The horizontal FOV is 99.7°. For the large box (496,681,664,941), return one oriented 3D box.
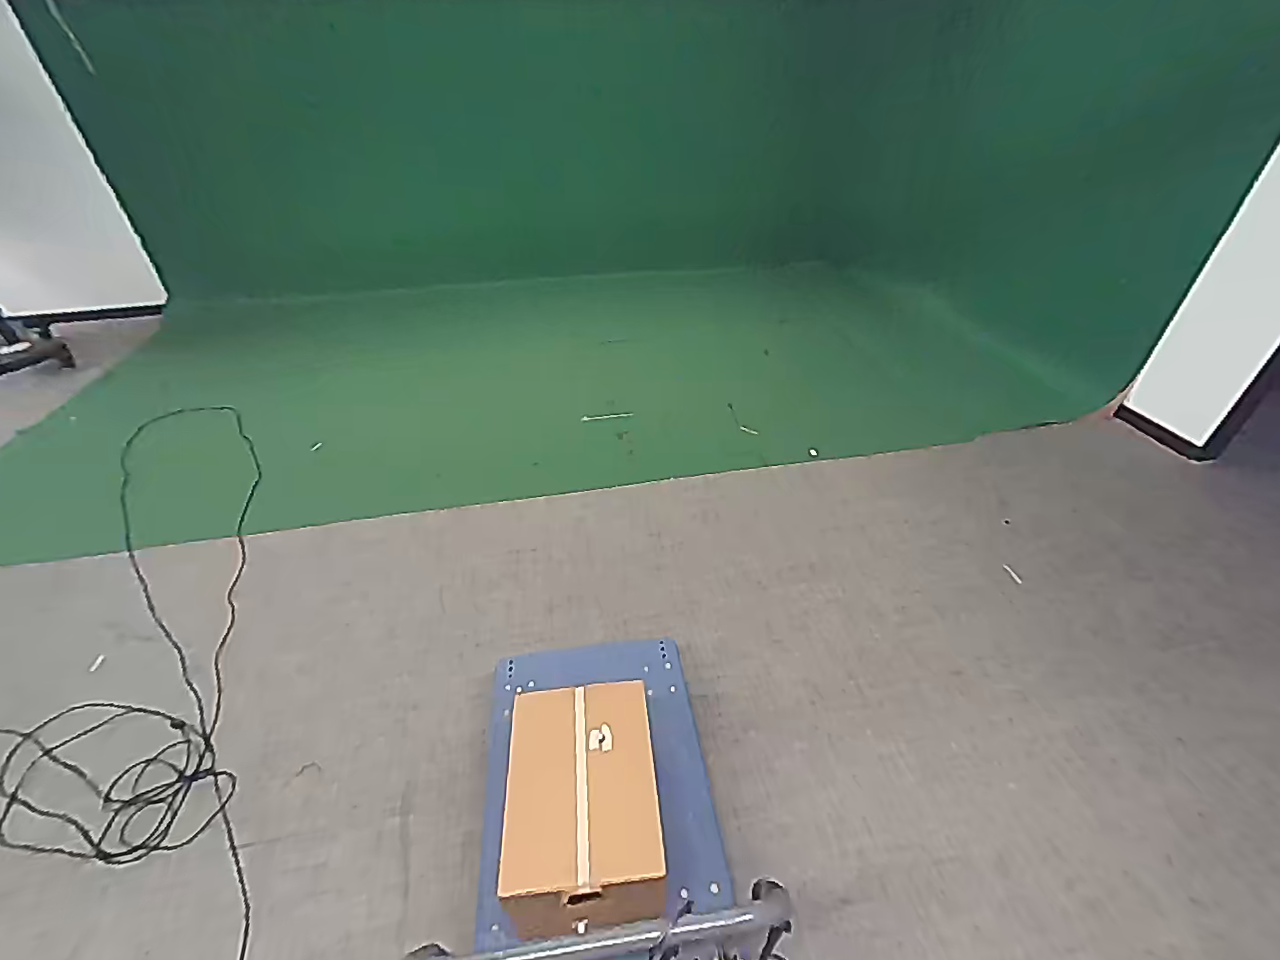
[{"bbox_3d":[-0.126,0.734,1.226,0.320,0.320,0.408,-4,38,-4],"label":"large box"}]
